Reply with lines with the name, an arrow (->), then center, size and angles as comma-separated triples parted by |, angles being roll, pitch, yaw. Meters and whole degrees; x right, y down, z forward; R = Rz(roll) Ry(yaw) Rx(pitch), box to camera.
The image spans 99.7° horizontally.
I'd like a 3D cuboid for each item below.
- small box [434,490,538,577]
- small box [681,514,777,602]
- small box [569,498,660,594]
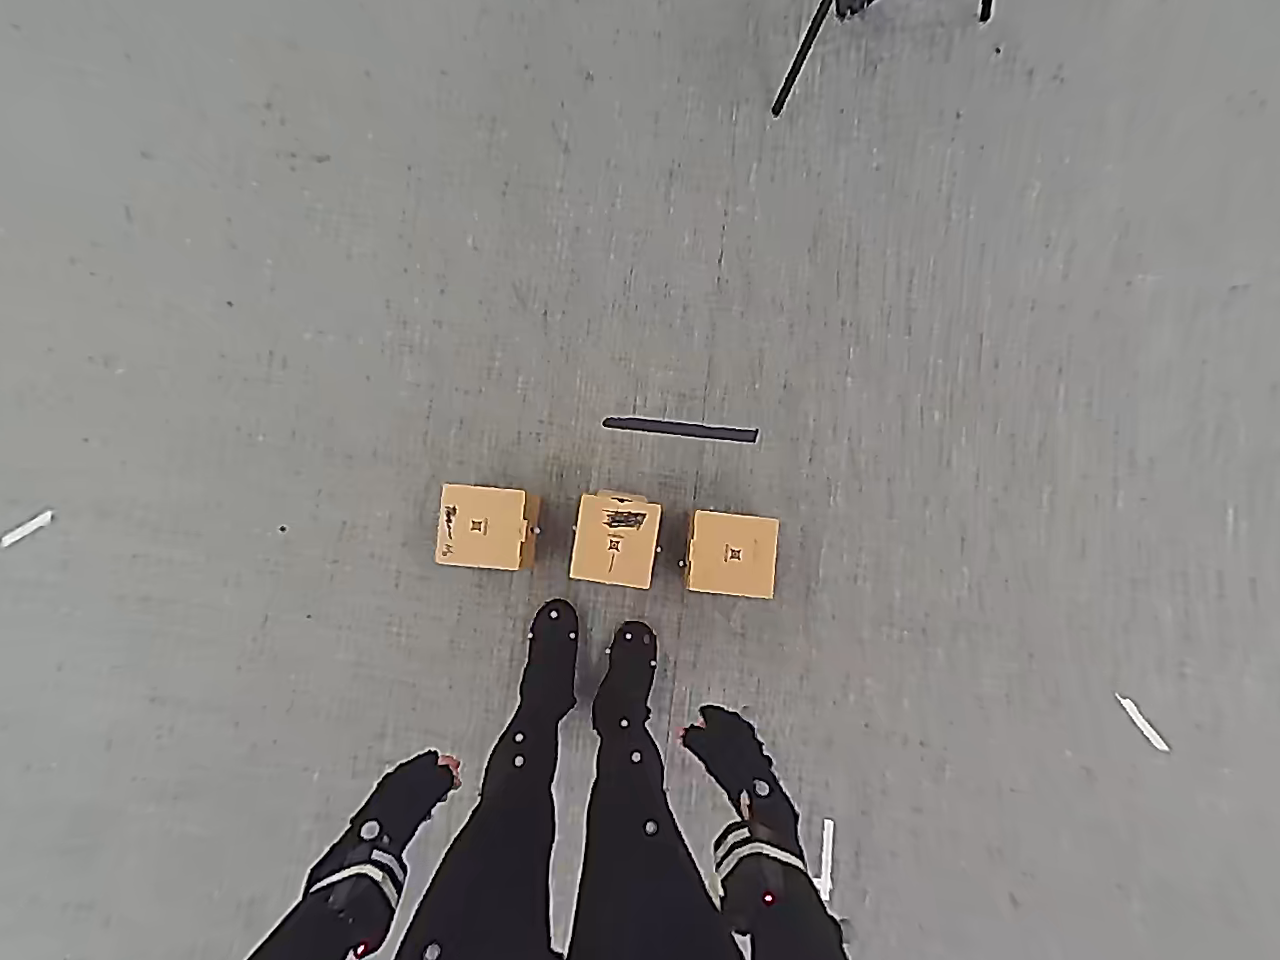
small box -> -0.325, 0.112, 1.179 | 0.179, 0.176, 0.168 | 5, 86, -1
small box -> 0.185, 0.163, 1.178 | 0.179, 0.176, 0.168 | 5, 87, -1
small box -> -0.052, 0.139, 1.177 | 0.168, 0.176, 0.179 | 9, 87, 1
